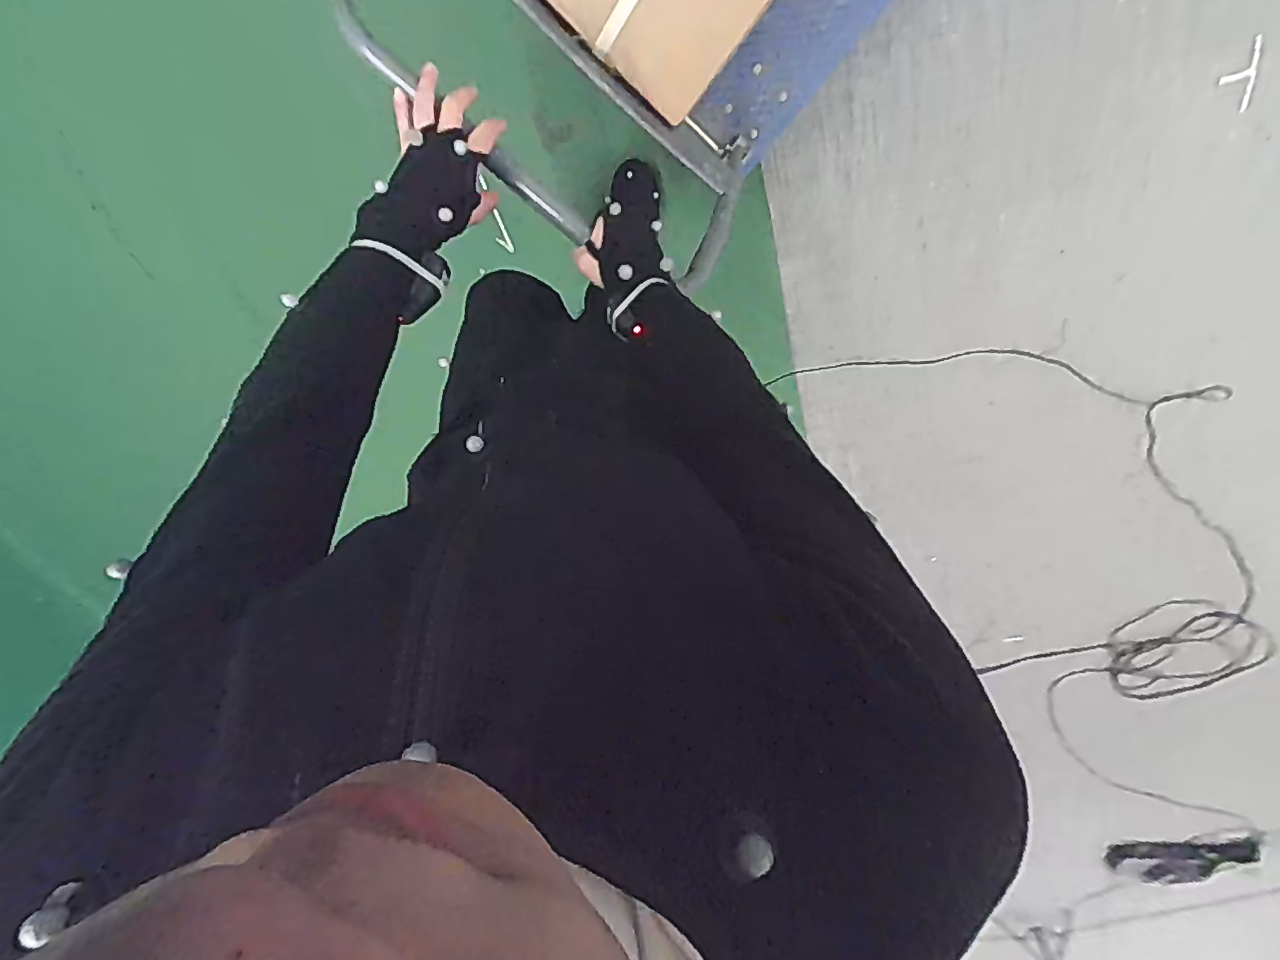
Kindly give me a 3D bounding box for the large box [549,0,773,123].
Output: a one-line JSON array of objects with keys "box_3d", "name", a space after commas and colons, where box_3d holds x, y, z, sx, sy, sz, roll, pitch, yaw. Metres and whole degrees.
[{"box_3d": [0.085, -0.852, 0.829, 0.320, 0.320, 0.408, 36, 126, -18], "name": "large box"}]
